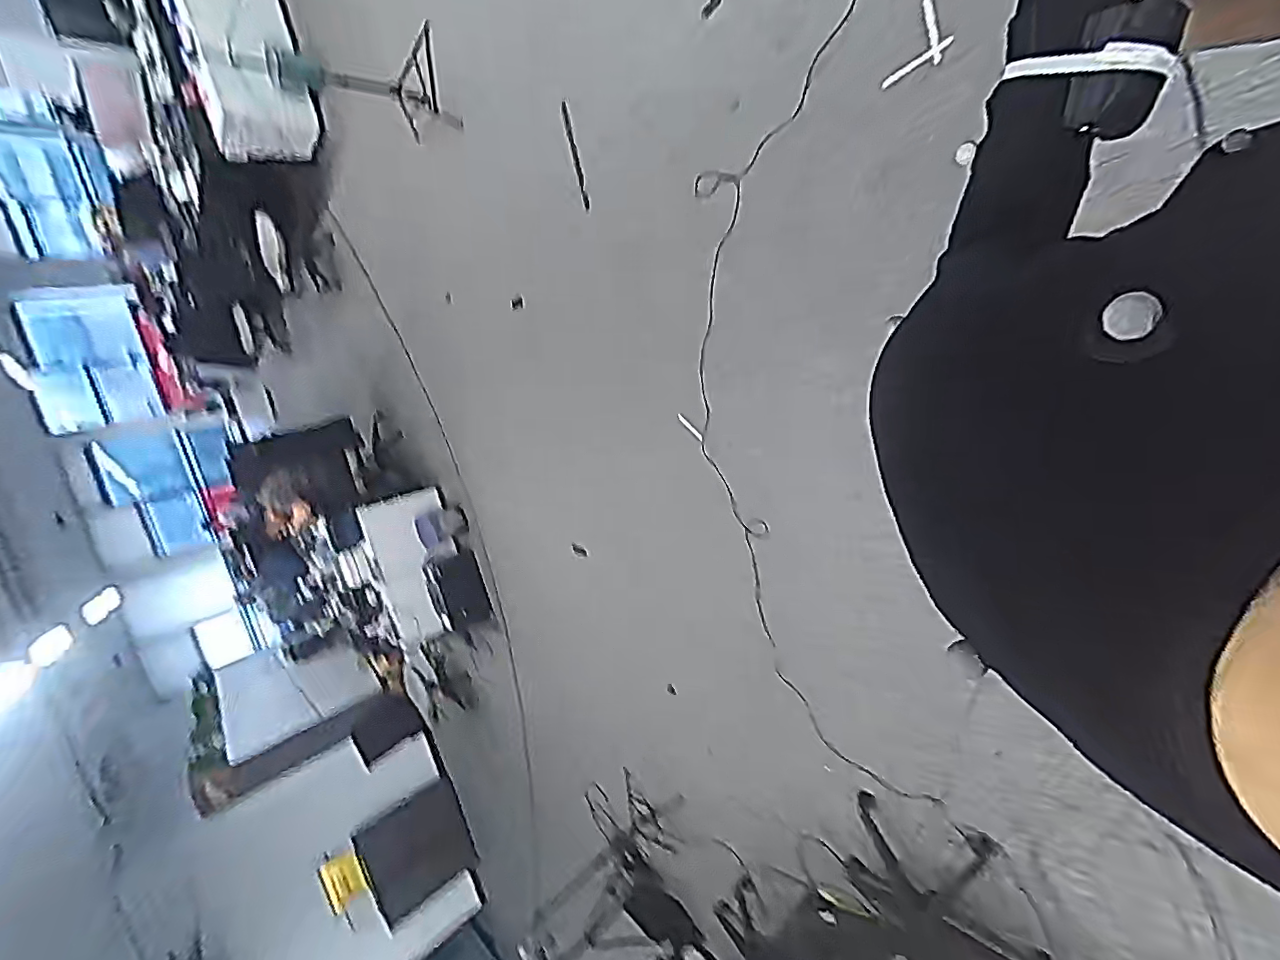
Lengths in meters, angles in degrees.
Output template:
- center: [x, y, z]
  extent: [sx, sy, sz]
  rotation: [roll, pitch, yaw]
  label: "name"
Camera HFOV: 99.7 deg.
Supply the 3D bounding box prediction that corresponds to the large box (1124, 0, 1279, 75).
- center: [0.534, -0.430, 0.246]
  extent: [0.408, 0.320, 0.320]
  rotation: [19, 125, 38]
  label: "large box"
